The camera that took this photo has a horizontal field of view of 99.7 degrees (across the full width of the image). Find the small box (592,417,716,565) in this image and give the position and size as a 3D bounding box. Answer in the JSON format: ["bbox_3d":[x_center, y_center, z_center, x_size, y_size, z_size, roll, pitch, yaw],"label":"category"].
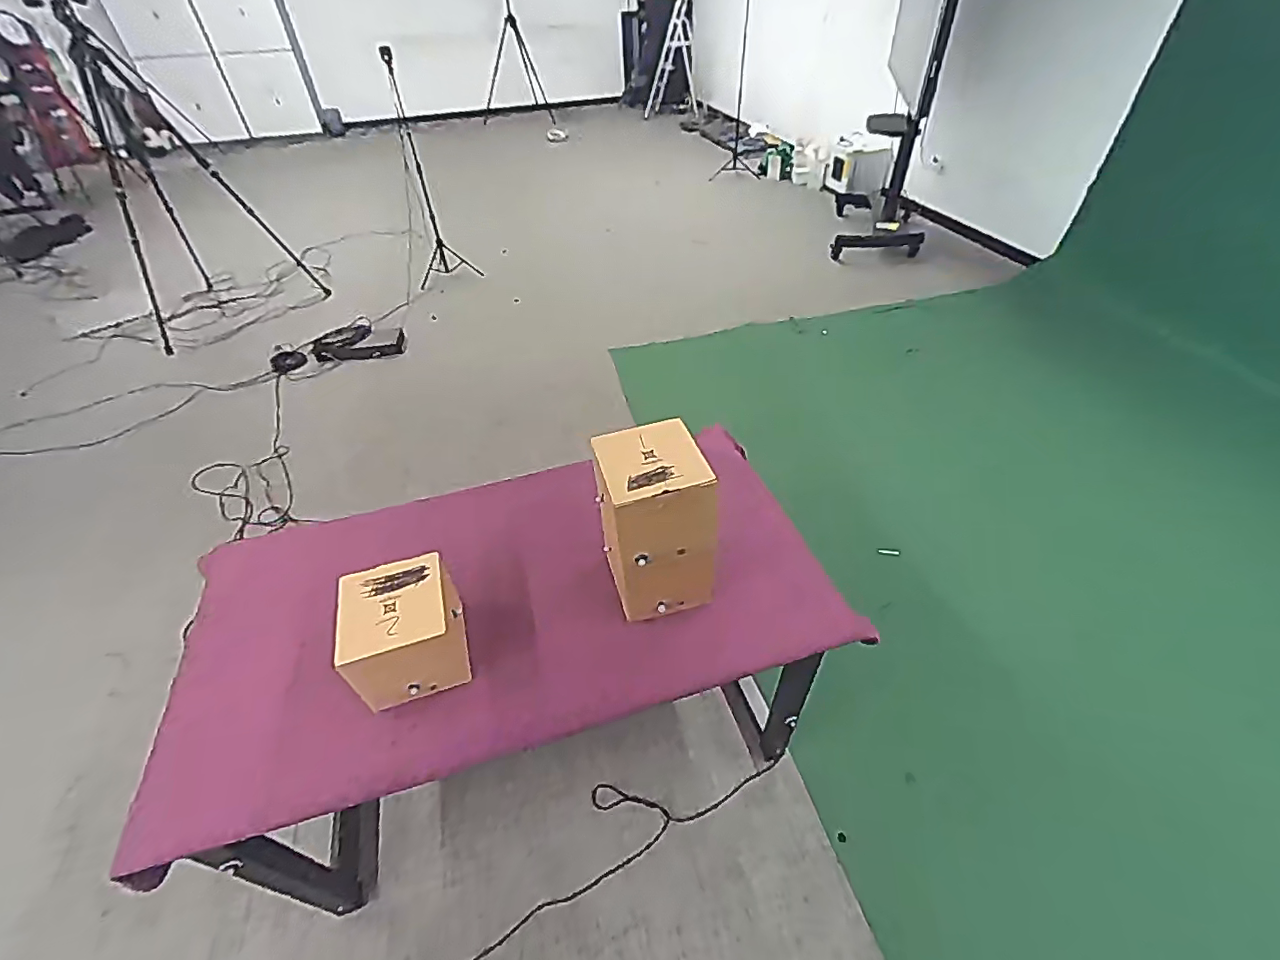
[{"bbox_3d":[0.024,0.024,0.920,0.168,0.176,0.179,-14,43,-9],"label":"small box"}]

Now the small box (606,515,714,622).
[{"bbox_3d":[0.033,0.140,1.035,0.168,0.176,0.179,-14,44,-8],"label":"small box"}]
